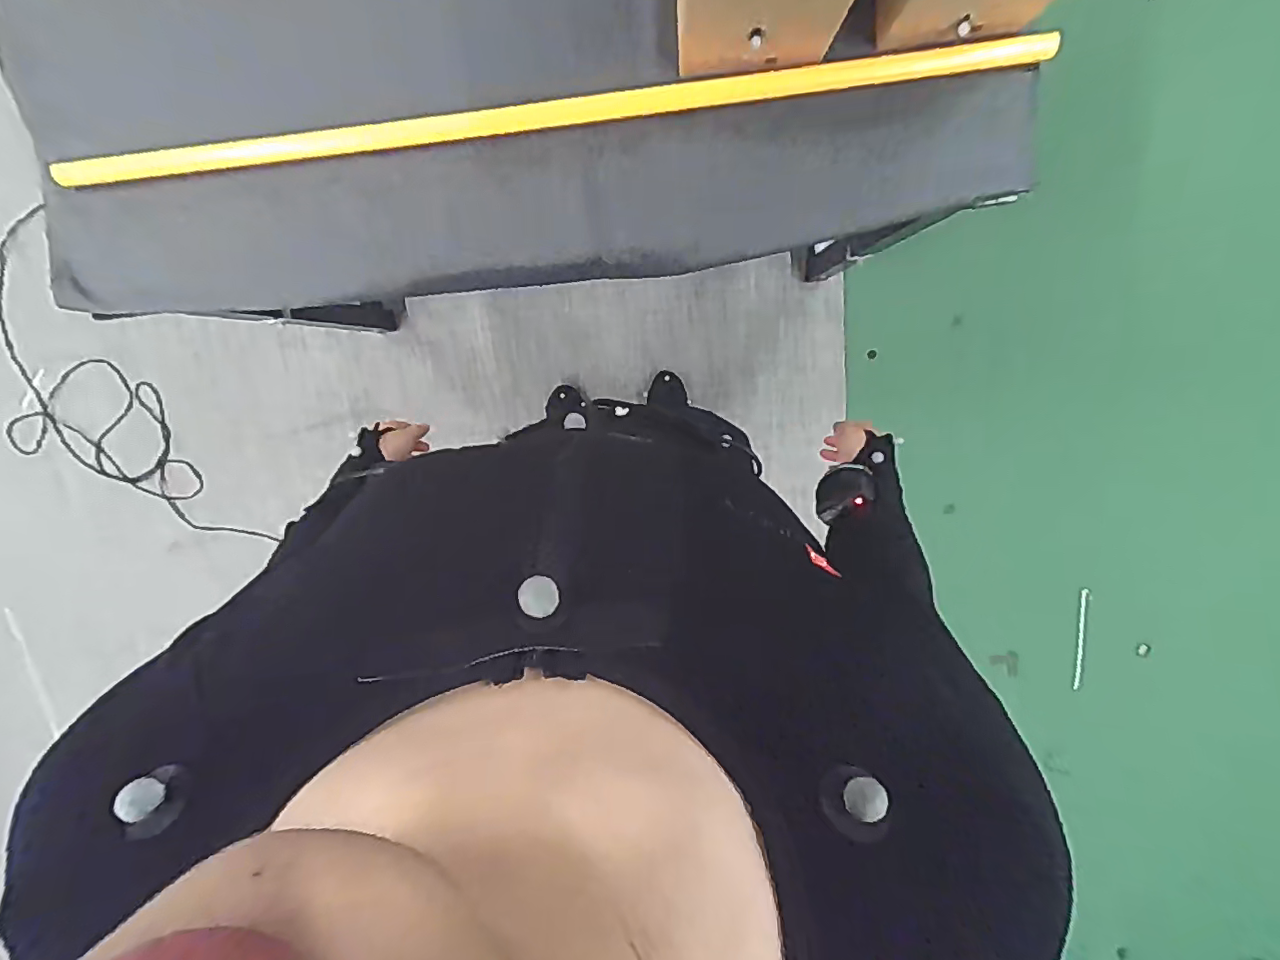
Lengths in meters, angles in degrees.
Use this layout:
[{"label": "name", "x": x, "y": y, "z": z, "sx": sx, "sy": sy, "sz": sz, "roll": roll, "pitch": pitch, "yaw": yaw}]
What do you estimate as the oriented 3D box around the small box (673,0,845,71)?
[{"label": "small box", "x": 0.119, "y": -0.544, "z": 0.542, "sx": 0.168, "sy": 0.176, "sz": 0.179, "roll": -3, "pitch": 102, "yaw": 2}]
